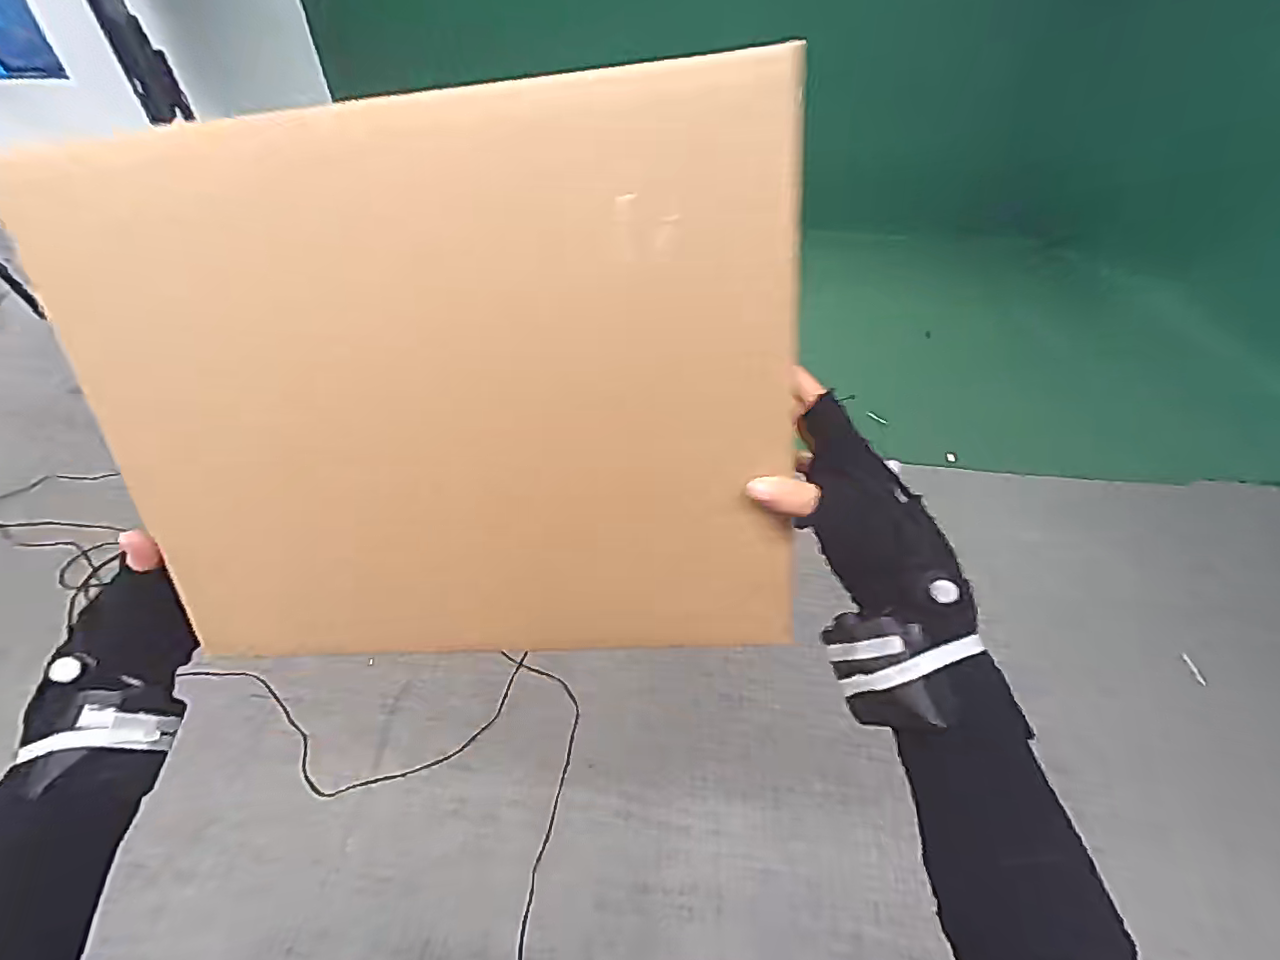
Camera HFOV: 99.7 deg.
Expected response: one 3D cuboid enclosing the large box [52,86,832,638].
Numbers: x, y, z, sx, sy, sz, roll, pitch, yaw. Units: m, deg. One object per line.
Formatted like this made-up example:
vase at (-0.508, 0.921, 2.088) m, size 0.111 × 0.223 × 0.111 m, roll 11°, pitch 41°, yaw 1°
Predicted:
large box at (-0.092, -0.086, 0.454) m, size 0.408 × 0.320 × 0.320 m, roll -2°, pitch 22°, yaw 4°
